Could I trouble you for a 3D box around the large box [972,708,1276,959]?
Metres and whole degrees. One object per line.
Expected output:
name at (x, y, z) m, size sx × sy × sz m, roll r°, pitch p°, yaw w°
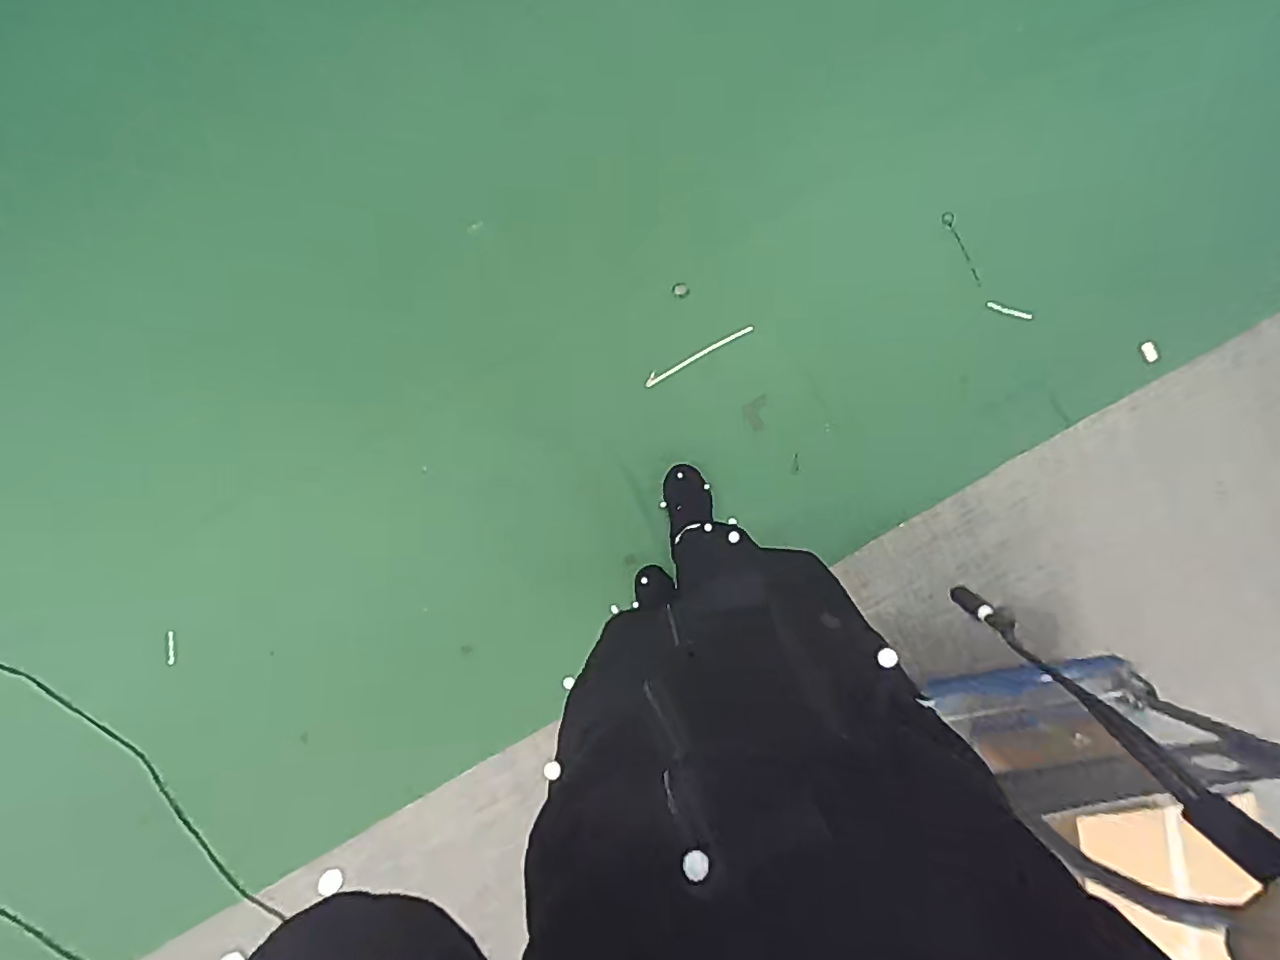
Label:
large box at (0.933, 0.735, 1.085) m, size 0.320 × 0.320 × 0.408 m, roll -9°, pitch 90°, yaw 1°
